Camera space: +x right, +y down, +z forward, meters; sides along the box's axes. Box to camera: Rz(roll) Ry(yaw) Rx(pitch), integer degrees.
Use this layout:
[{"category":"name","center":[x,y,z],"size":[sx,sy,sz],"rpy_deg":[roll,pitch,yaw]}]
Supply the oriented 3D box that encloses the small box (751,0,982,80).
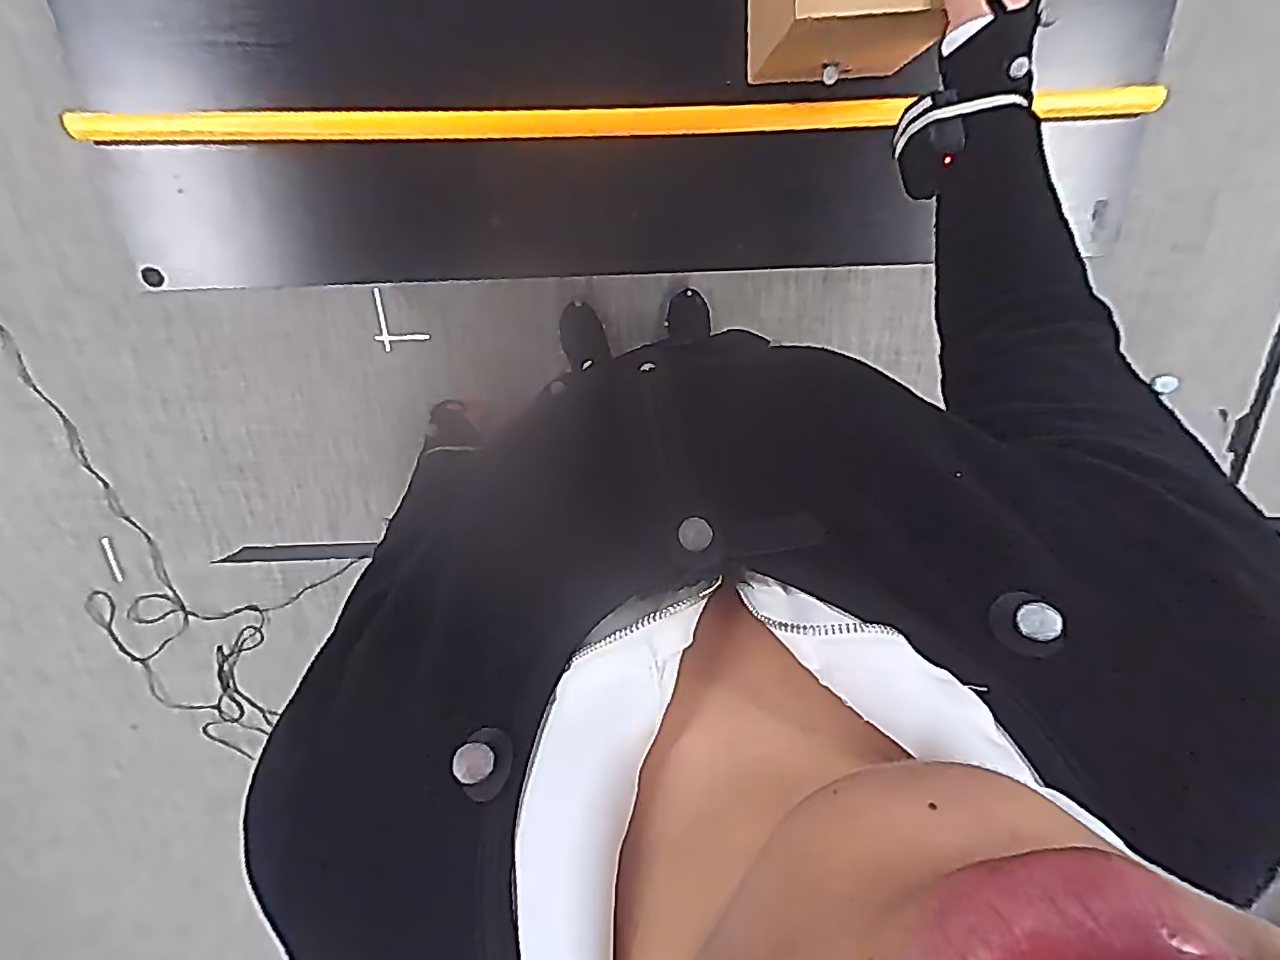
[{"category":"small box","center":[0.204,-0.510,0.507],"size":[0.168,0.176,0.179],"rpy_deg":[-4,111,-1]}]
